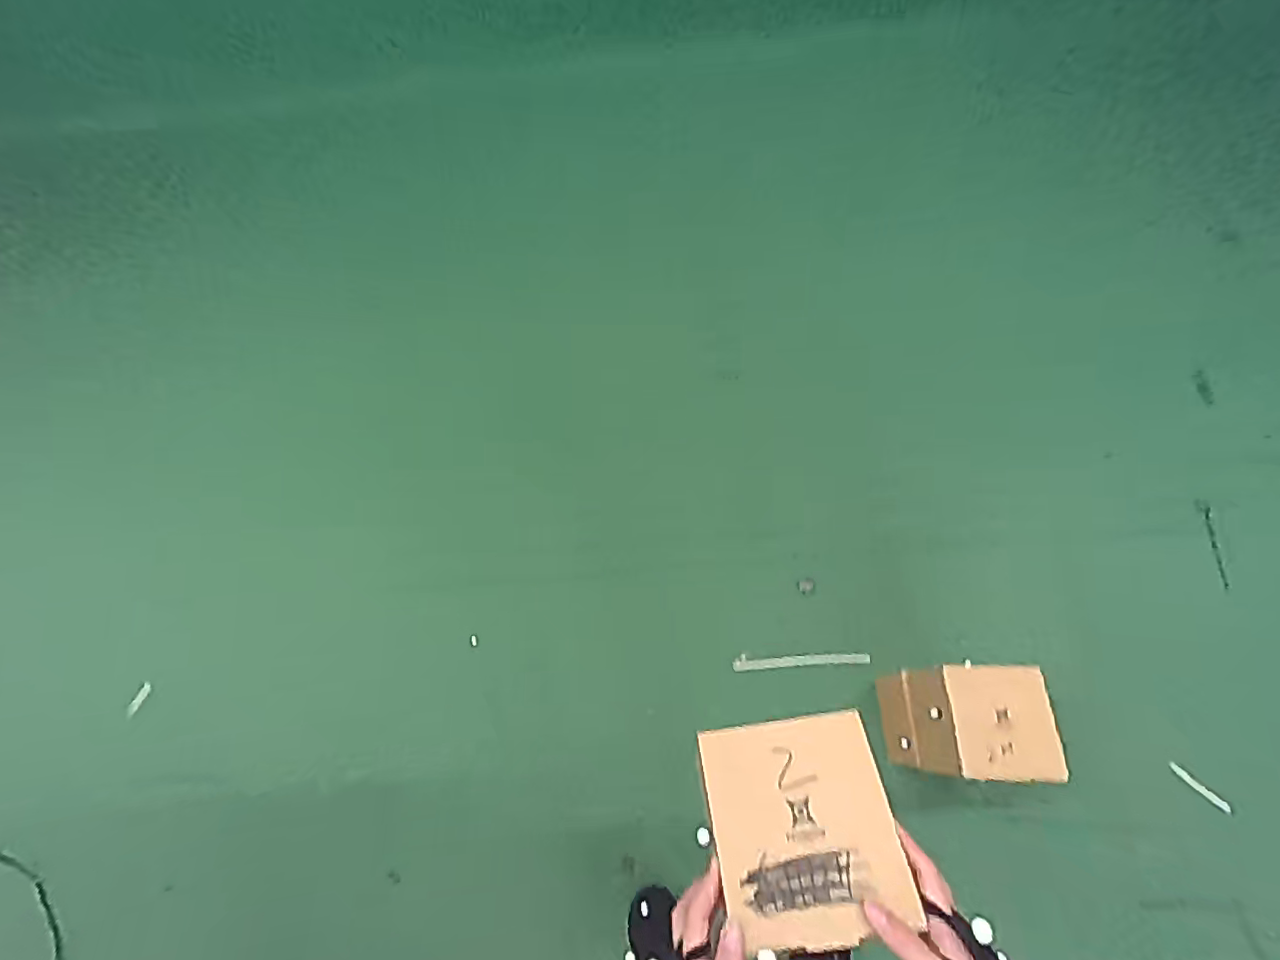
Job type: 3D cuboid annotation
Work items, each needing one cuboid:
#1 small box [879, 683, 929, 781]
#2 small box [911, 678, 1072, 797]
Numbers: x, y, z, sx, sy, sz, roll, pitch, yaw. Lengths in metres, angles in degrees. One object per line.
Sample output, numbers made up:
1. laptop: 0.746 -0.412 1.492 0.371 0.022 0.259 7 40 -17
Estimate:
1. small box: 0.614 0.520 1.117 0.168 0.176 0.179 -2 65 3
2. small box: 0.608 0.455 0.966 0.168 0.176 0.179 0 66 4
